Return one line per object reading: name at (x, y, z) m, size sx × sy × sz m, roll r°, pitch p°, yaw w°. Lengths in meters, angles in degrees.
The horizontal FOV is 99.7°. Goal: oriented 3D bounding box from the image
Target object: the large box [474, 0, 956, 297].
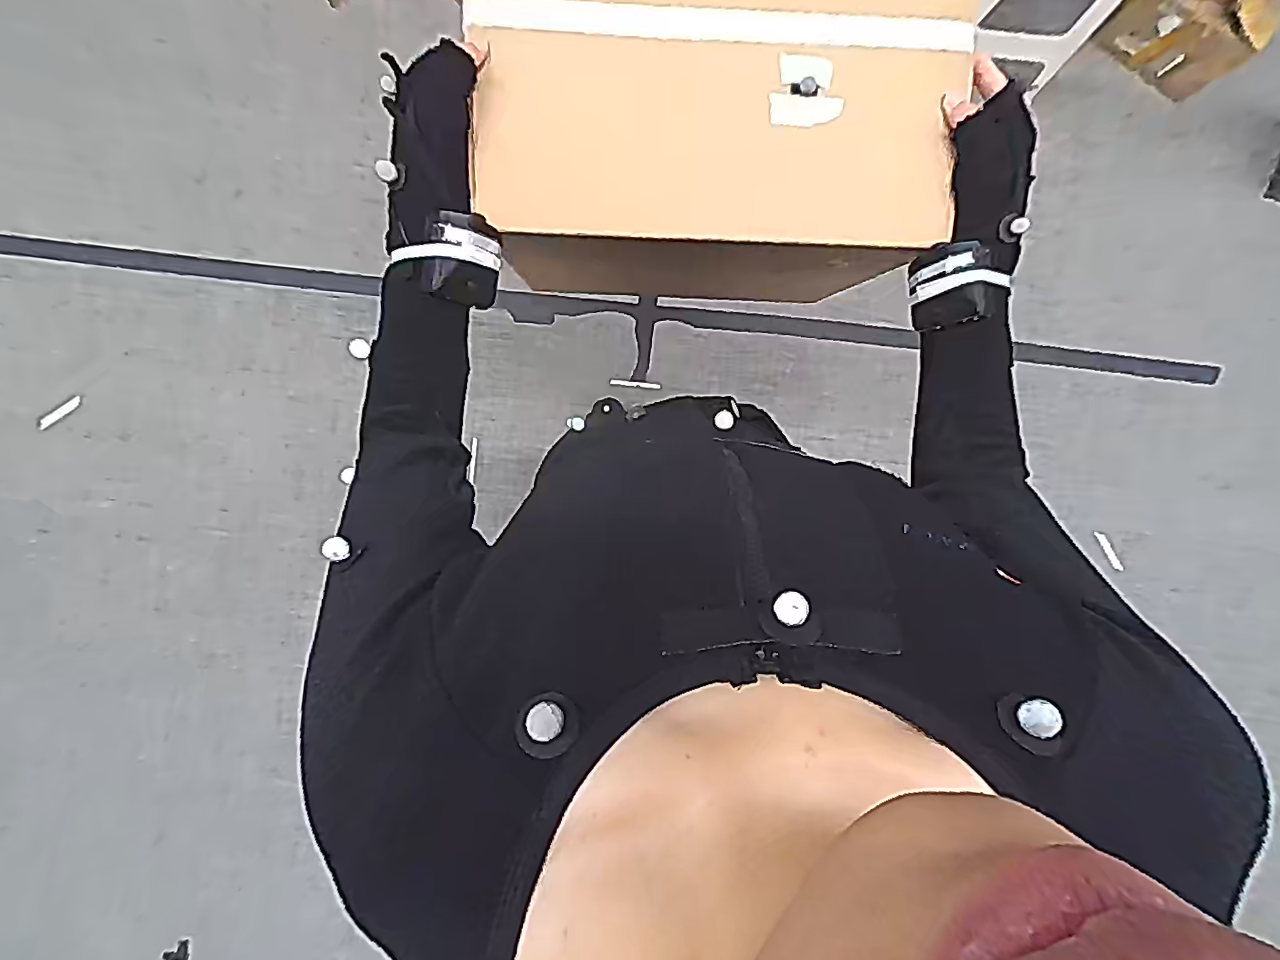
large box at (0.055, -0.386, 0.593) m, size 0.408 × 0.320 × 0.320 m, roll 1°, pitch 100°, yaw -3°
